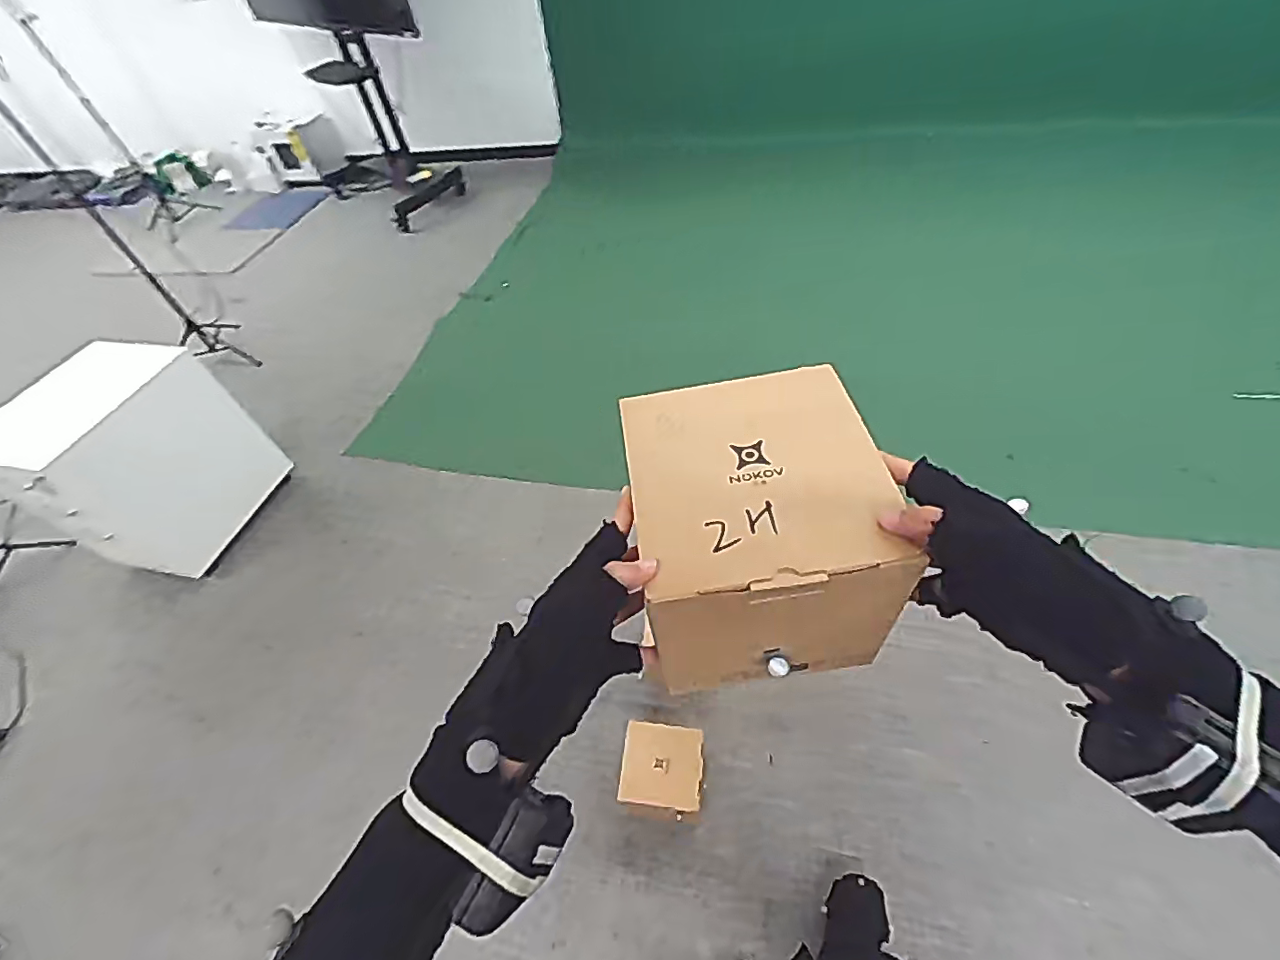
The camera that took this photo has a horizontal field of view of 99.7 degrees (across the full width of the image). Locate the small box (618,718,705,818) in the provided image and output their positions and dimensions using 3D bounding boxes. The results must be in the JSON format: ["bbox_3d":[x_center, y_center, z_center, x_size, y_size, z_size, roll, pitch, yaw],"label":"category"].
[{"bbox_3d":[0.057,0.667,1.248,0.179,0.176,0.168,2,51,9],"label":"small box"}]

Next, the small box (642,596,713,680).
[{"bbox_3d":[0.105,0.424,1.447,0.179,0.176,0.168,-2,49,7],"label":"small box"}]
